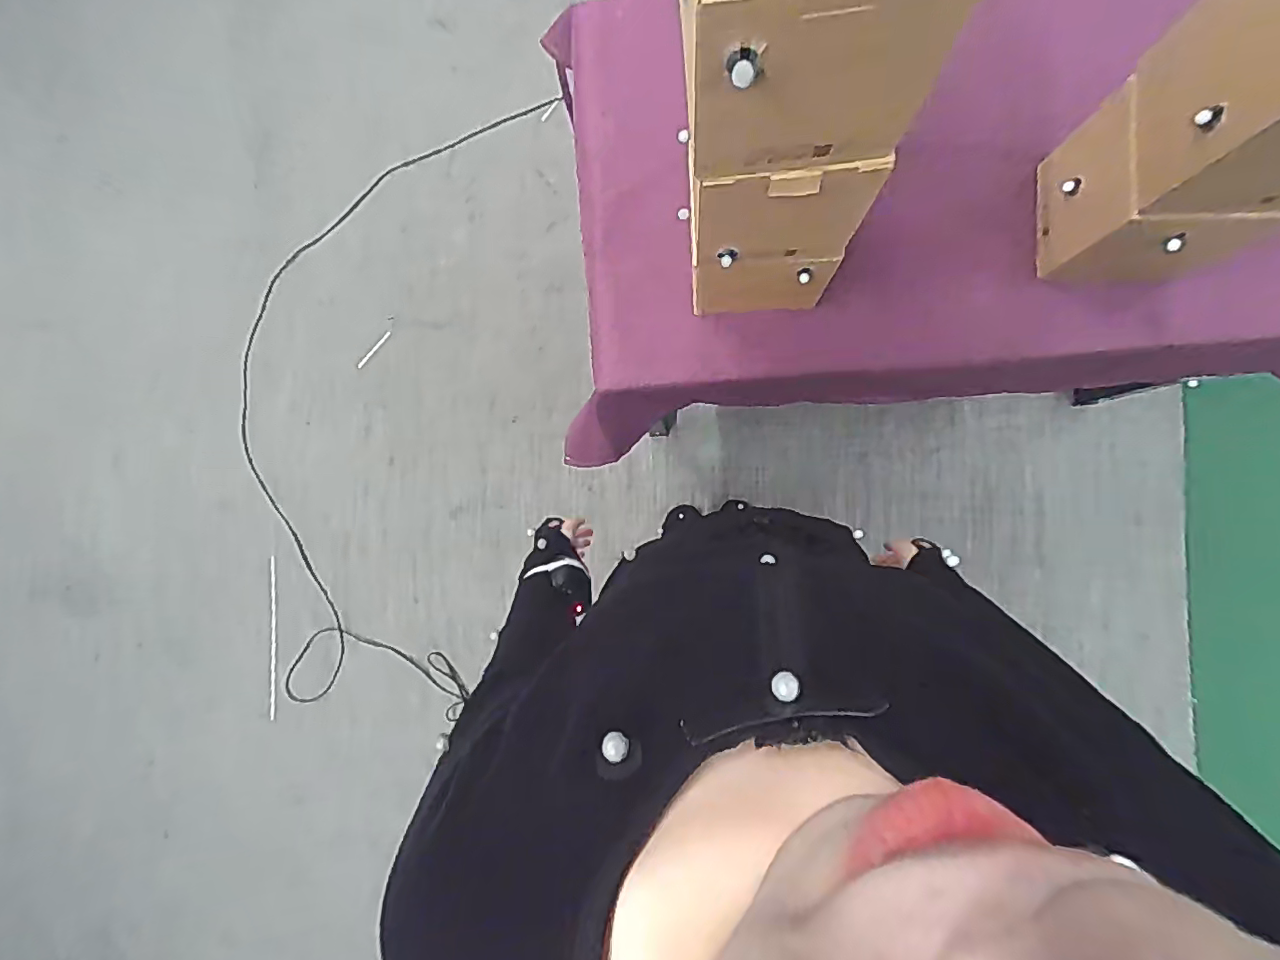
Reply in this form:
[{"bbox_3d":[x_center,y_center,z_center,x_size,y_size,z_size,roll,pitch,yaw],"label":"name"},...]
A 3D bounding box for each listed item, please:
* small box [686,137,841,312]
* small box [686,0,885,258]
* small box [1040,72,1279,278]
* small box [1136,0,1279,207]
[{"bbox_3d":[0.152,-0.331,0.712,0.179,0.176,0.168,-2,87,6],"label":"small box"},{"bbox_3d":[0.133,-0.343,0.549,0.168,0.176,0.179,-3,86,5],"label":"small box"},{"bbox_3d":[0.626,-0.358,0.658,0.179,0.176,0.168,2,88,7],"label":"small box"},{"bbox_3d":[0.608,-0.374,0.496,0.168,0.176,0.179,2,87,6],"label":"small box"}]
